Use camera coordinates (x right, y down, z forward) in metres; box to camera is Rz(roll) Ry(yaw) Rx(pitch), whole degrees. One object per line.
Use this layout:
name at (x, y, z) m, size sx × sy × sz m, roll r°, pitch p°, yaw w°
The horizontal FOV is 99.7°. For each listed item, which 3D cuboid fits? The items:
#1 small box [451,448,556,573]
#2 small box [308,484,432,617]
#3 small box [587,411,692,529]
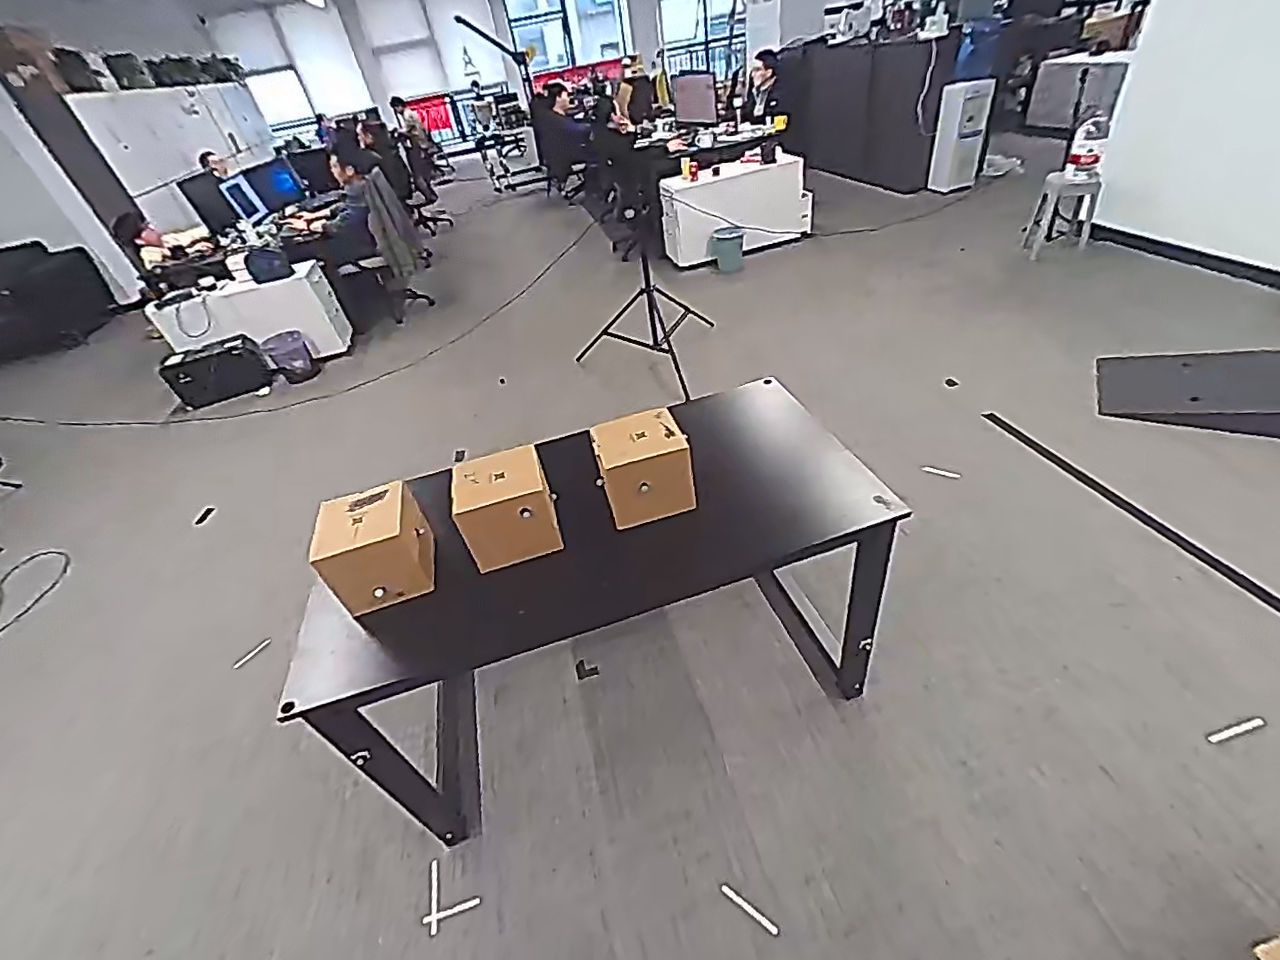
small box at (-0.280, 0.065, 1.127) m, size 0.179 × 0.176 × 0.168 m, roll -17°, pitch 39°, yaw -7°
small box at (-0.533, 0.142, 1.094) m, size 0.168 × 0.176 × 0.179 m, roll -18°, pitch 41°, yaw -8°
small box at (-0.001, -0.018, 1.163) m, size 0.179 × 0.176 × 0.168 m, roll -16°, pitch 39°, yaw -5°
